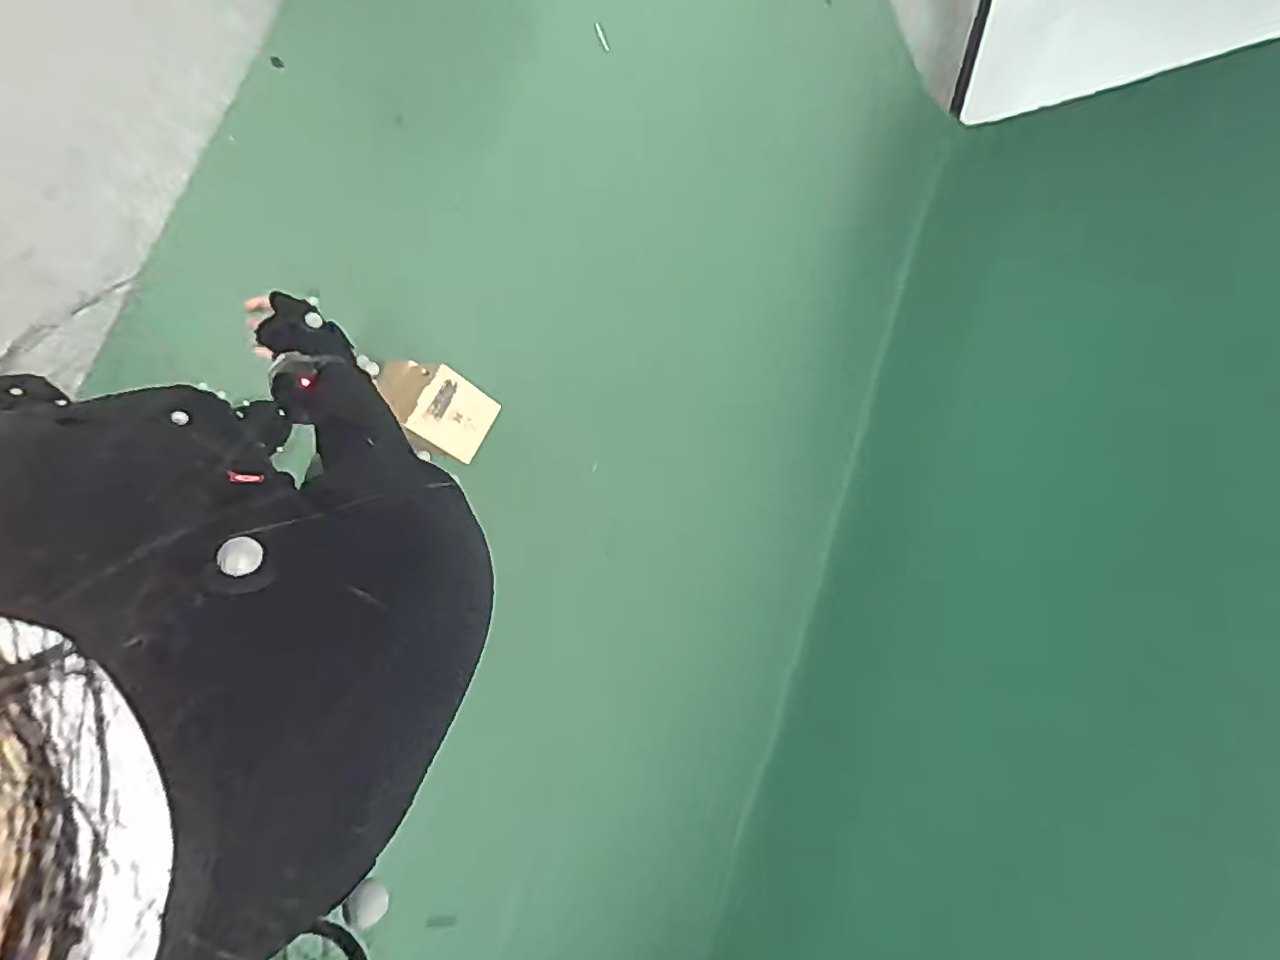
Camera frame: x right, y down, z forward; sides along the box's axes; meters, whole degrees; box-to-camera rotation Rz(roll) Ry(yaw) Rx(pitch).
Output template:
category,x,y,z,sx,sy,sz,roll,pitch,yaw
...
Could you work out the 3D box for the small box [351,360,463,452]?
category,x,y,z,sx,sy,sz,roll,pitch,yaw
small box,-0.597,-0.190,1.386,0.179,0.176,0.168,40,69,-39
